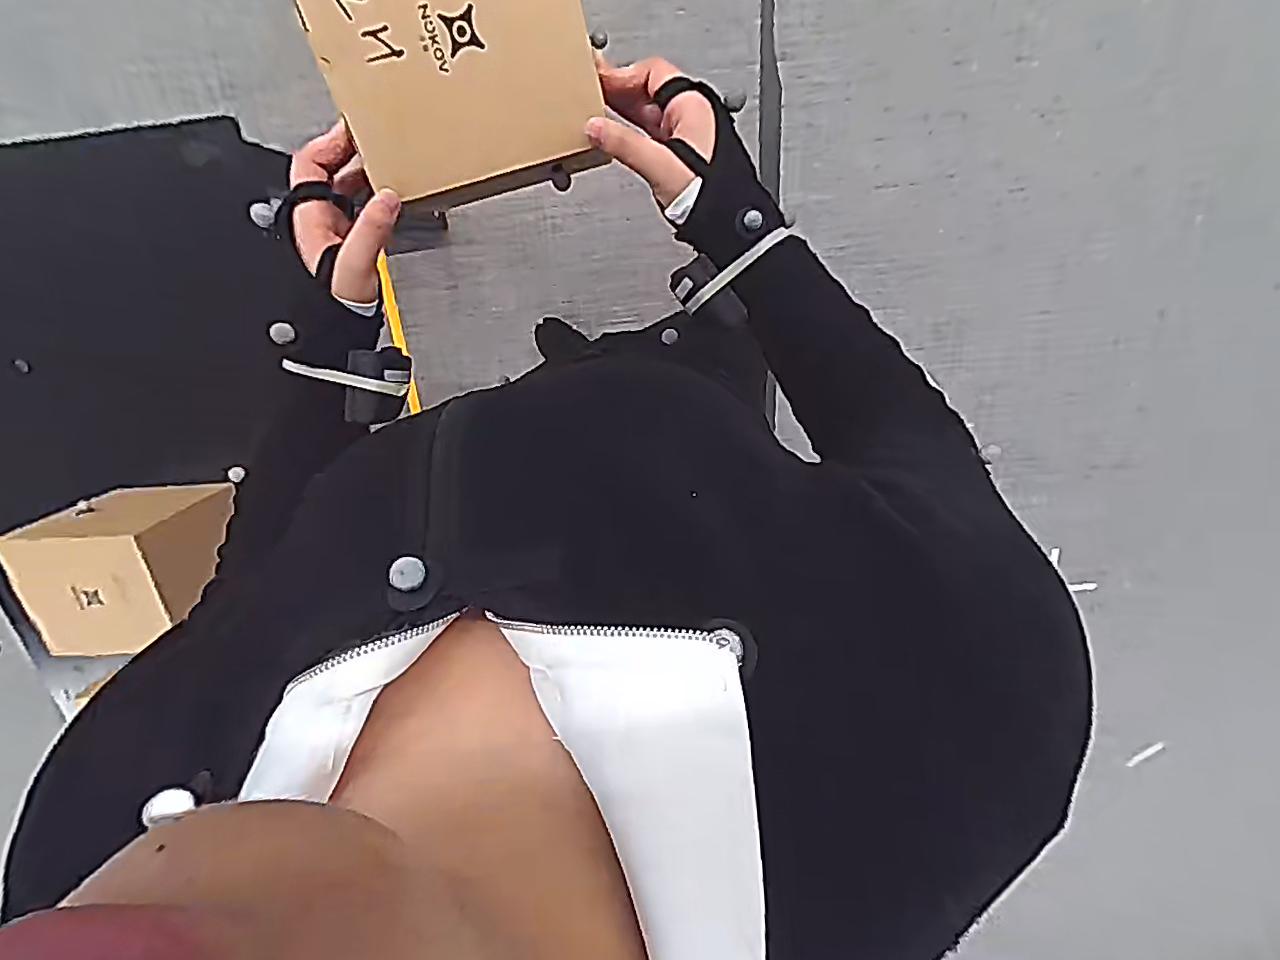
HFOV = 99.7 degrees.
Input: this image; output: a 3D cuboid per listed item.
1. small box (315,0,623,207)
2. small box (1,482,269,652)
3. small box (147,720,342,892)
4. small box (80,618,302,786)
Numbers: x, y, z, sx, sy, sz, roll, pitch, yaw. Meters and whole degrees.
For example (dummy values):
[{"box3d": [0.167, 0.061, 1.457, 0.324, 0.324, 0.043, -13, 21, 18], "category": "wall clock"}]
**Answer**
[{"box3d": [-0.116, -0.324, 0.424, 0.179, 0.176, 0.168, -12, 116, 4], "category": "small box"}, {"box3d": [-0.660, 0.110, 0.734, 0.179, 0.176, 0.168, -4, 111, 2], "category": "small box"}, {"box3d": [-0.623, 0.524, 0.881, 0.168, 0.176, 0.179, -7, 109, 3], "category": "small box"}, {"box3d": [-0.643, 0.322, 0.809, 0.179, 0.176, 0.168, -4, 111, 2], "category": "small box"}]
